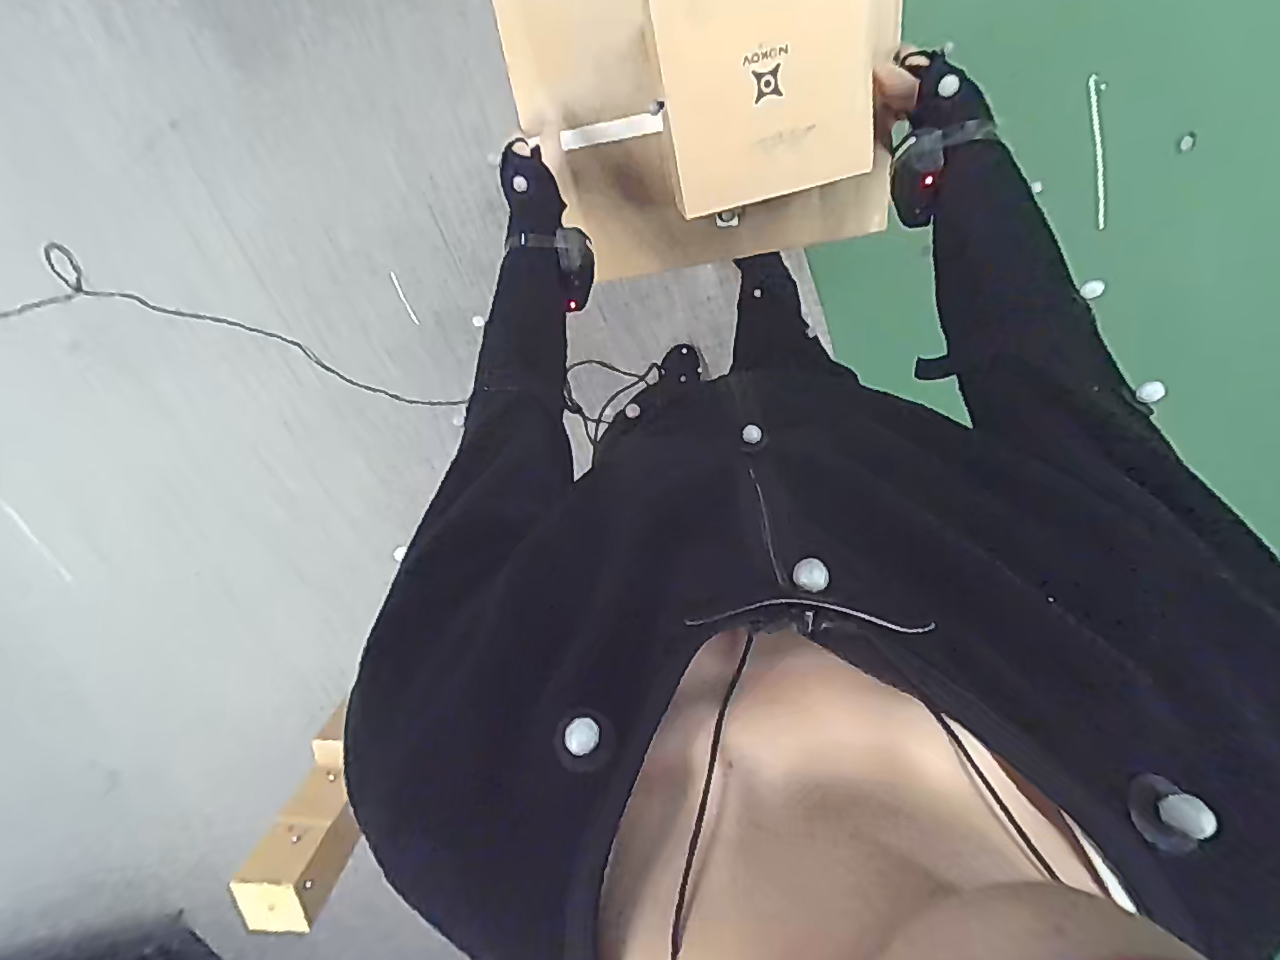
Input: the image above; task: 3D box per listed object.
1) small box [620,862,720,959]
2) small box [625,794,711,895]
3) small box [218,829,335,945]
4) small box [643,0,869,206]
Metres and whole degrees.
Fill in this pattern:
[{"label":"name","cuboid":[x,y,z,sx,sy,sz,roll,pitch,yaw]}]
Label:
[{"label":"small box","cuboid":[0.067,0.977,1.185,0.168,0.176,0.179,-21,106,11]},{"label":"small box","cuboid":[0.073,0.925,1.340,0.168,0.176,0.179,-19,107,9]},{"label":"small box","cuboid":[-0.915,1.034,1.380,0.168,0.176,0.179,0,110,4]},{"label":"small box","cuboid":[0.098,-0.368,0.498,0.168,0.176,0.179,-11,119,7]}]
